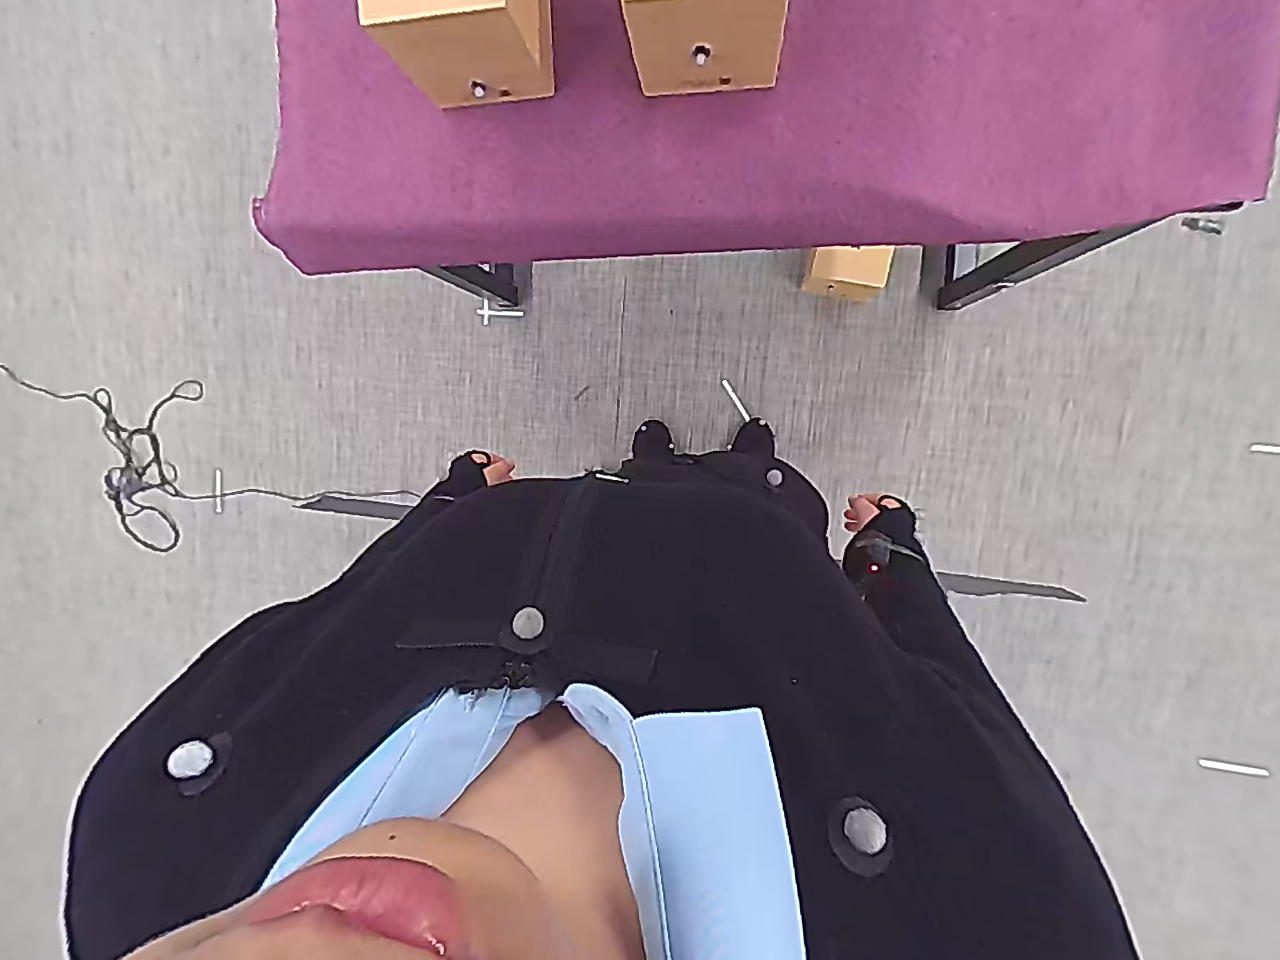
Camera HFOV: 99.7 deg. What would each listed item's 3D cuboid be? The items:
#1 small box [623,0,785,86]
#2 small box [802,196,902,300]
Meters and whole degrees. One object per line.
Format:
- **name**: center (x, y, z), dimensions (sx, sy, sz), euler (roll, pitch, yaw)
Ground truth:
- **small box**: center (0.077, -0.568, 0.594), dimensions (0.168, 0.176, 0.179), euler (2, 97, 7)
- **small box**: center (0.490, -0.539, 1.281), dimensions (0.168, 0.176, 0.179), euler (13, 98, 7)
